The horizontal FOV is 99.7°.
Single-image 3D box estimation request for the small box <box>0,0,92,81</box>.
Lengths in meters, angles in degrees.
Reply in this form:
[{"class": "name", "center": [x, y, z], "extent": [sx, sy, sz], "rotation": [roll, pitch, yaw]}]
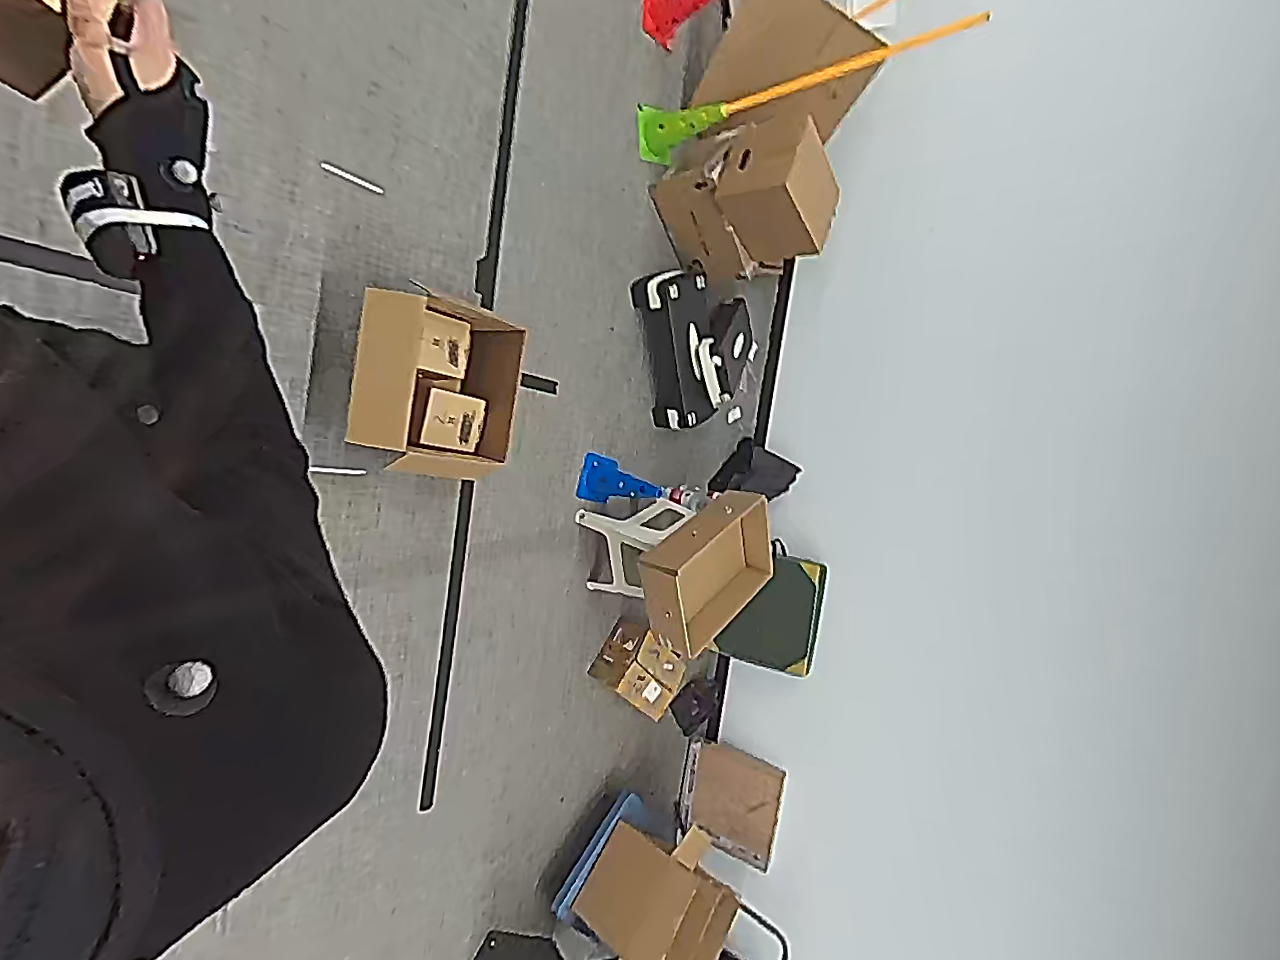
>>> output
[{"class": "small box", "center": [-0.508, -0.441, 0.388], "extent": [0.168, 0.176, 0.179], "rotation": [24, 72, -59]}]
